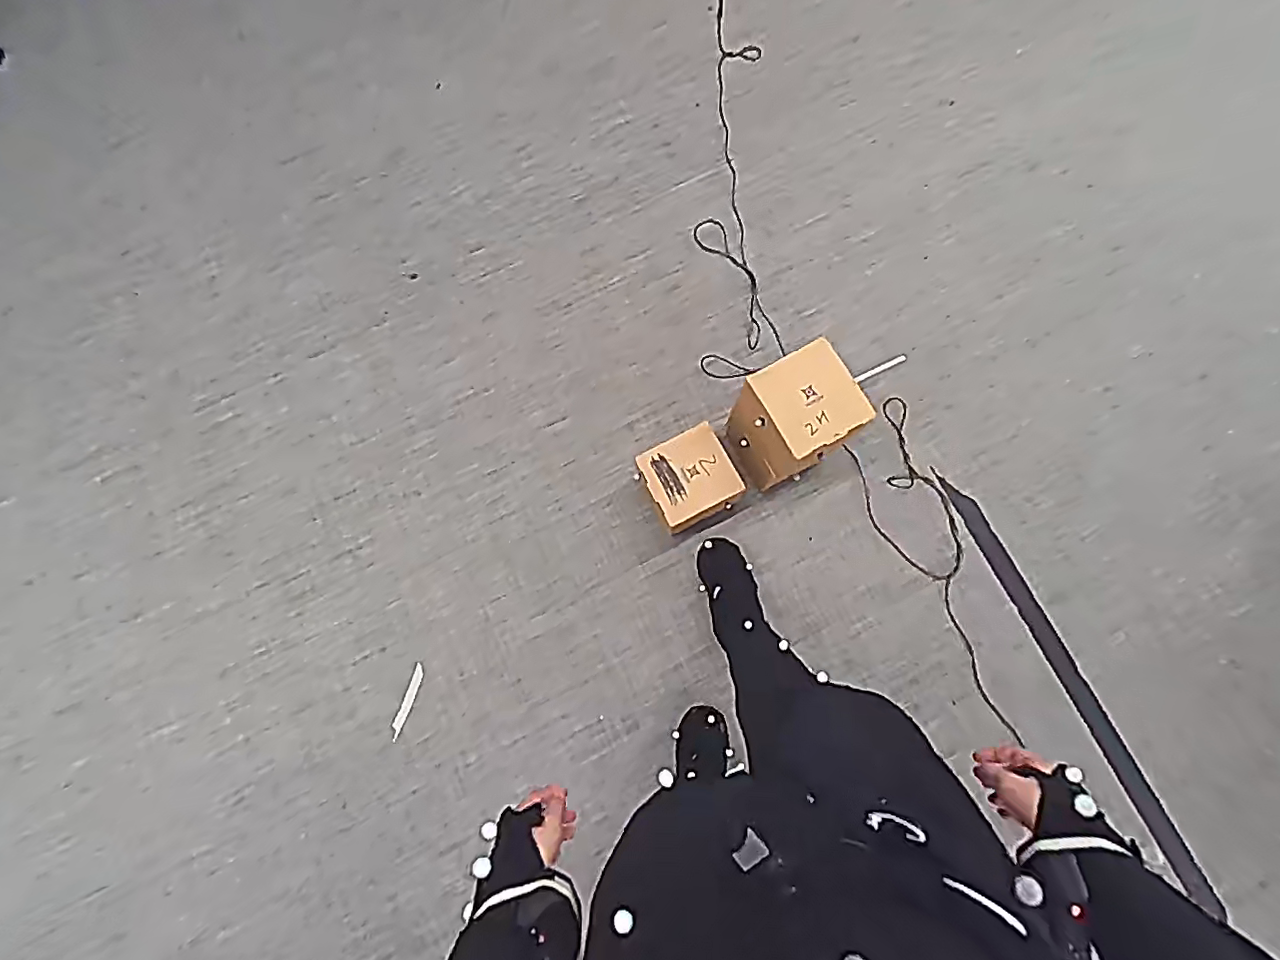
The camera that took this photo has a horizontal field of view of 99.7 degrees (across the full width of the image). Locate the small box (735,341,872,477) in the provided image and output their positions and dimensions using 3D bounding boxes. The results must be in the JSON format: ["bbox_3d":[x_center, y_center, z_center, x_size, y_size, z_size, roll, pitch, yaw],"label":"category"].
[{"bbox_3d":[0.298,-0.126,1.030,0.168,0.176,0.179,-28,80,-3],"label":"small box"}]

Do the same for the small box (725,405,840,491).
[{"bbox_3d":[0.303,-0.094,1.191,0.168,0.176,0.179,-26,80,-3],"label":"small box"}]
